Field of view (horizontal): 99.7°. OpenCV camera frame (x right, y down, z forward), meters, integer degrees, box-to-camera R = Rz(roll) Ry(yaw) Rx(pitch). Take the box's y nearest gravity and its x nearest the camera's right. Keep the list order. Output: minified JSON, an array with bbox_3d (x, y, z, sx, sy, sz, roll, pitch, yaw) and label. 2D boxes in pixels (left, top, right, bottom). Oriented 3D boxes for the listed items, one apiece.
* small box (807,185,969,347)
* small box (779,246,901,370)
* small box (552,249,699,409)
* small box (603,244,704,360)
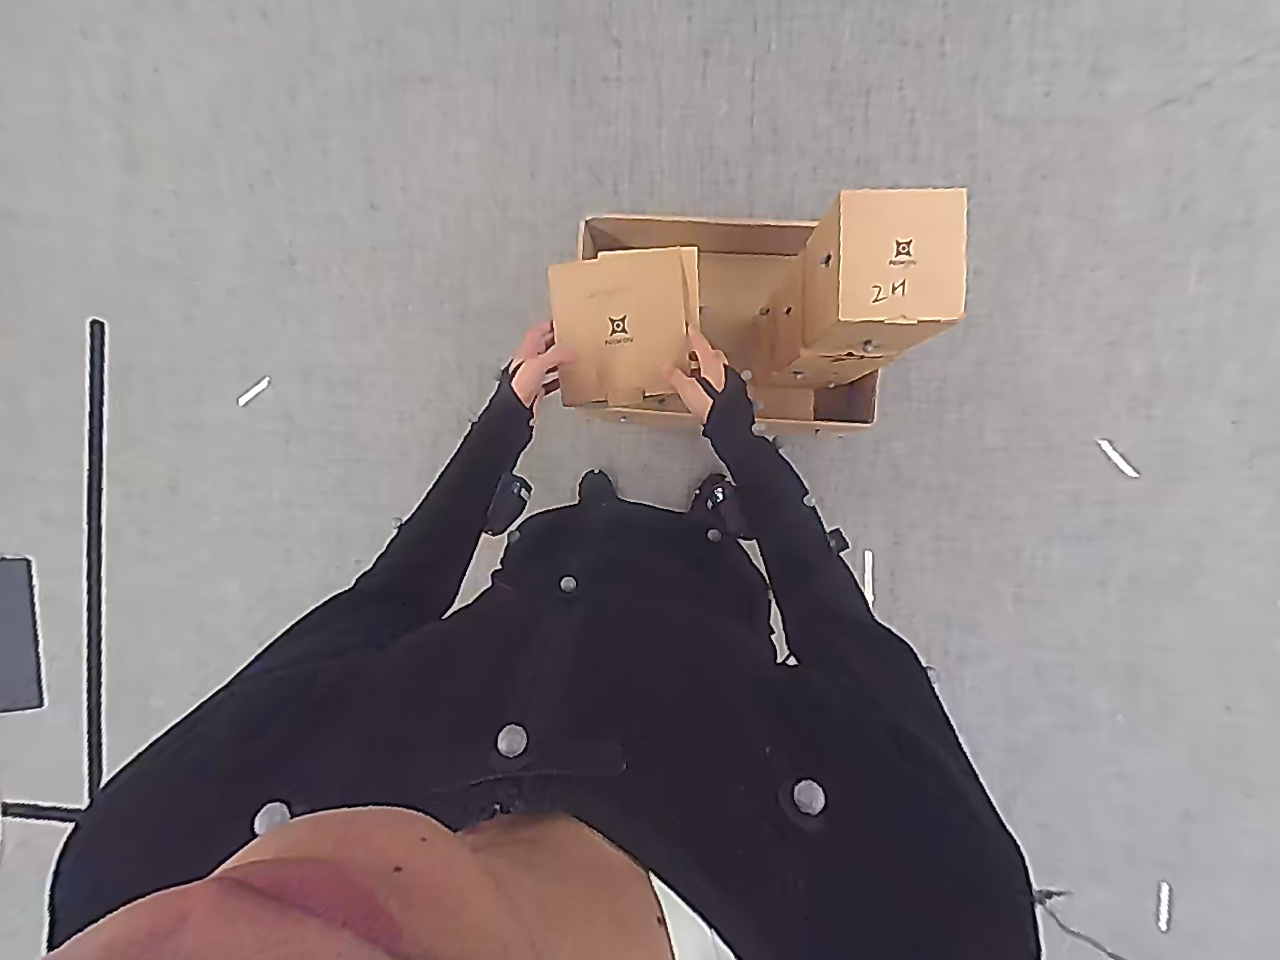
[{"bbox_3d":[0.347,-0.300,0.787,0.168,0.176,0.179,1,92,2],"label":"small box"},{"bbox_3d":[0.345,-0.293,0.952,0.168,0.176,0.179,1,92,2],"label":"small box"},{"bbox_3d":[-0.009,-0.194,0.739,0.168,0.176,0.179,-5,97,8],"label":"small box"},{"bbox_3d":[0.024,-0.301,0.969,0.168,0.176,0.179,-2,93,3],"label":"small box"}]
